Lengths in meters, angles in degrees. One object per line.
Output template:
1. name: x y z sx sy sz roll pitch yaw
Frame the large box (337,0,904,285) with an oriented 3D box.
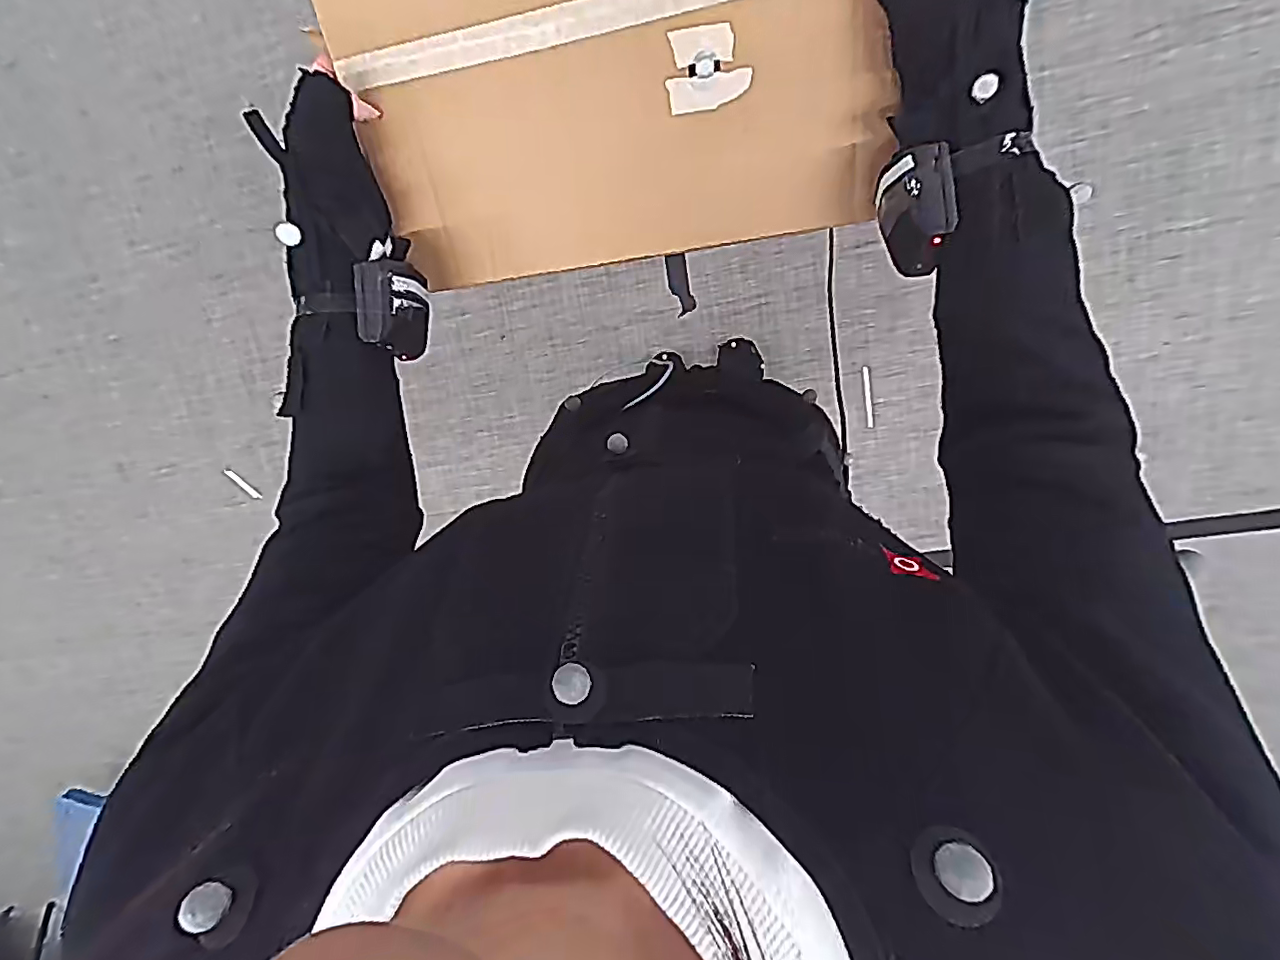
1. large box: -0.008 -0.392 0.517 0.408 0.320 0.320 -6 114 9
